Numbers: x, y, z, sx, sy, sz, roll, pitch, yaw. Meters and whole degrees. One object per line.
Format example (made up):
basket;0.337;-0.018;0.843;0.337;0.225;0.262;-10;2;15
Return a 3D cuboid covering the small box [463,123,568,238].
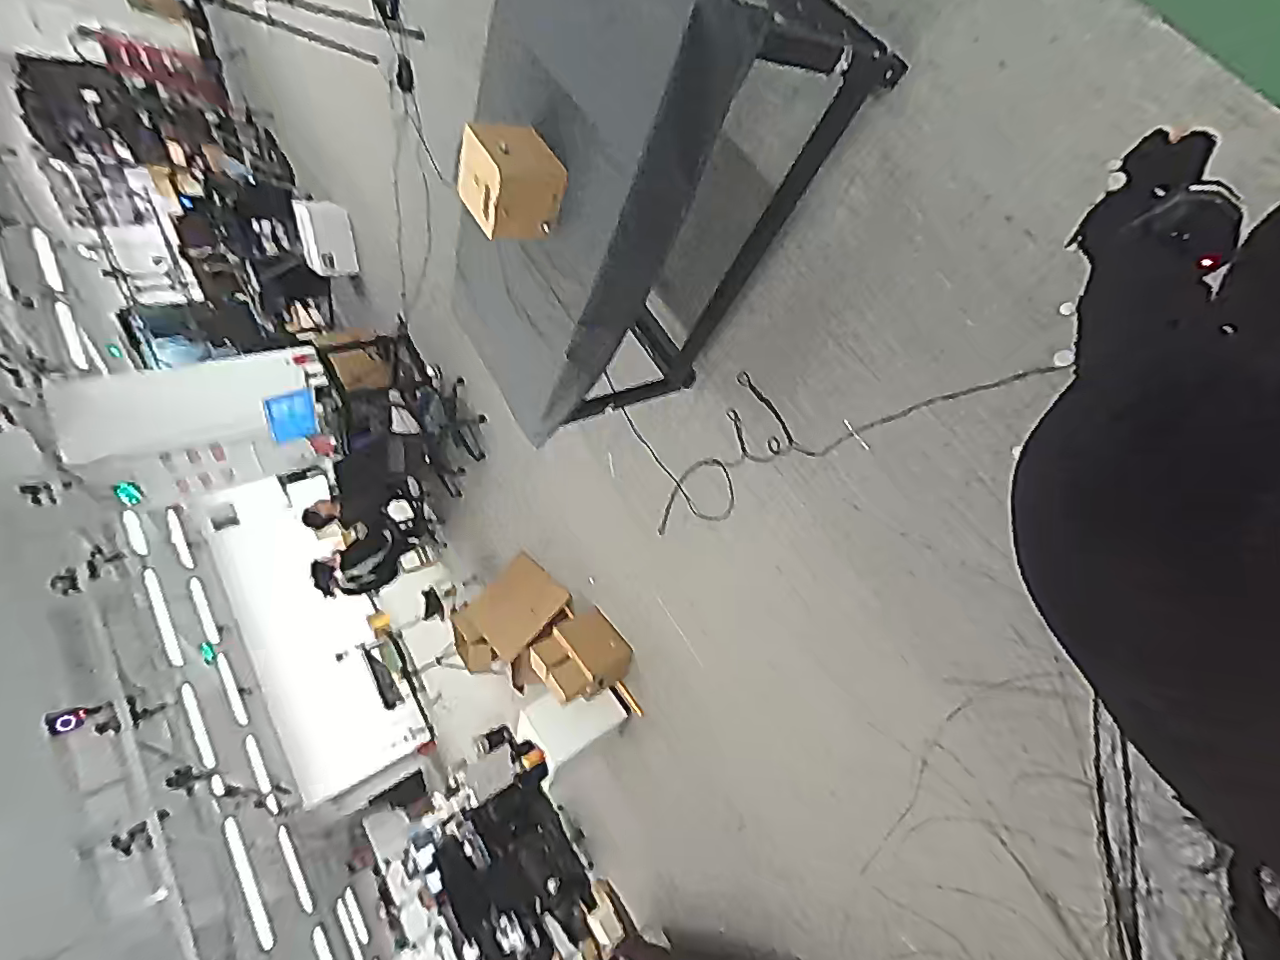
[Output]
small box;-0.289;-0.692;1.252;0.179;0.176;0.168;57;144;18
